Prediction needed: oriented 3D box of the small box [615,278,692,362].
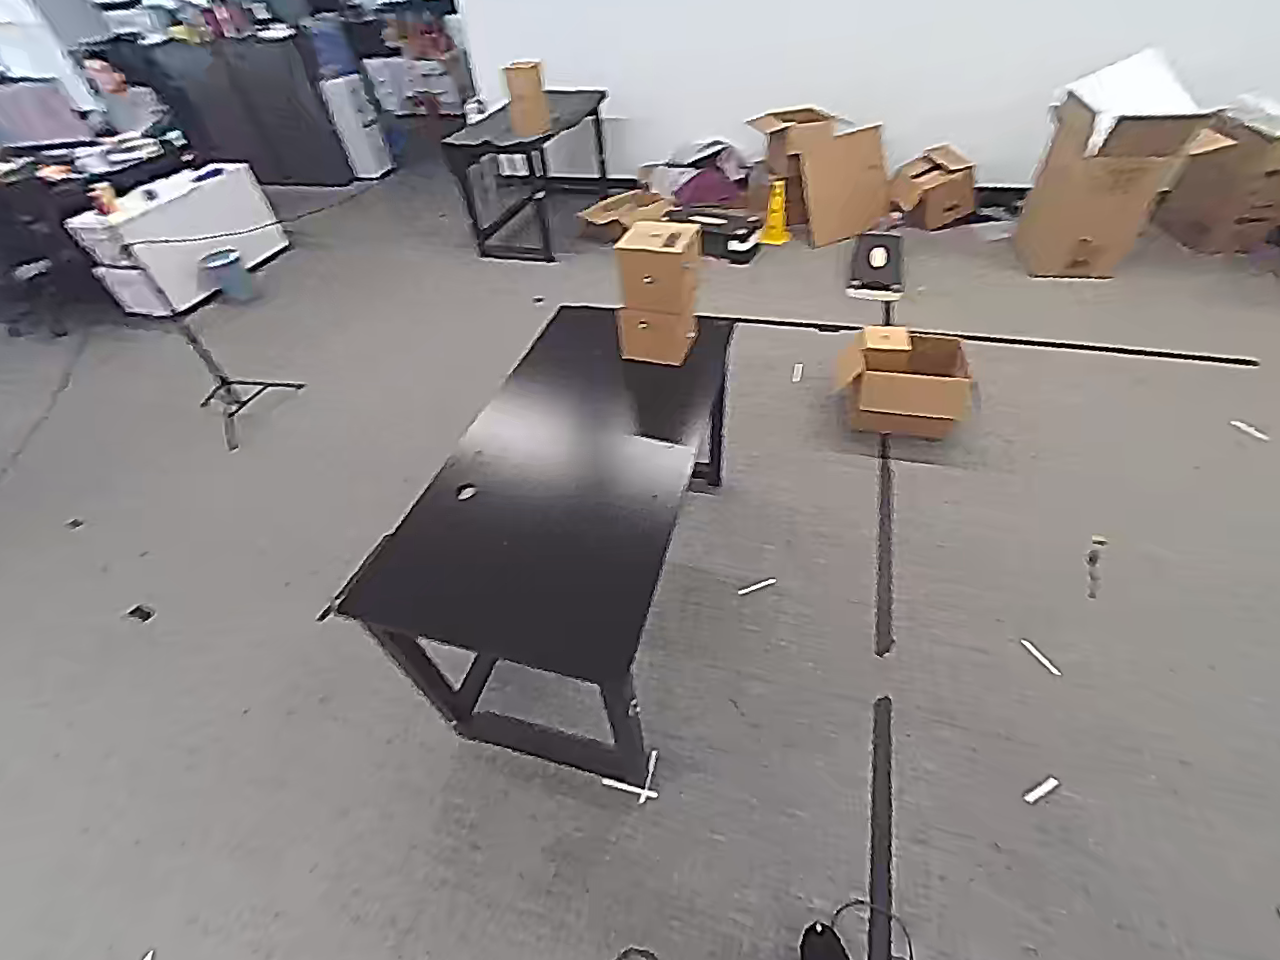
[{"bbox_3d":[0.044,-0.457,1.553,0.179,0.176,0.168,13,51,17],"label":"small box"}]
